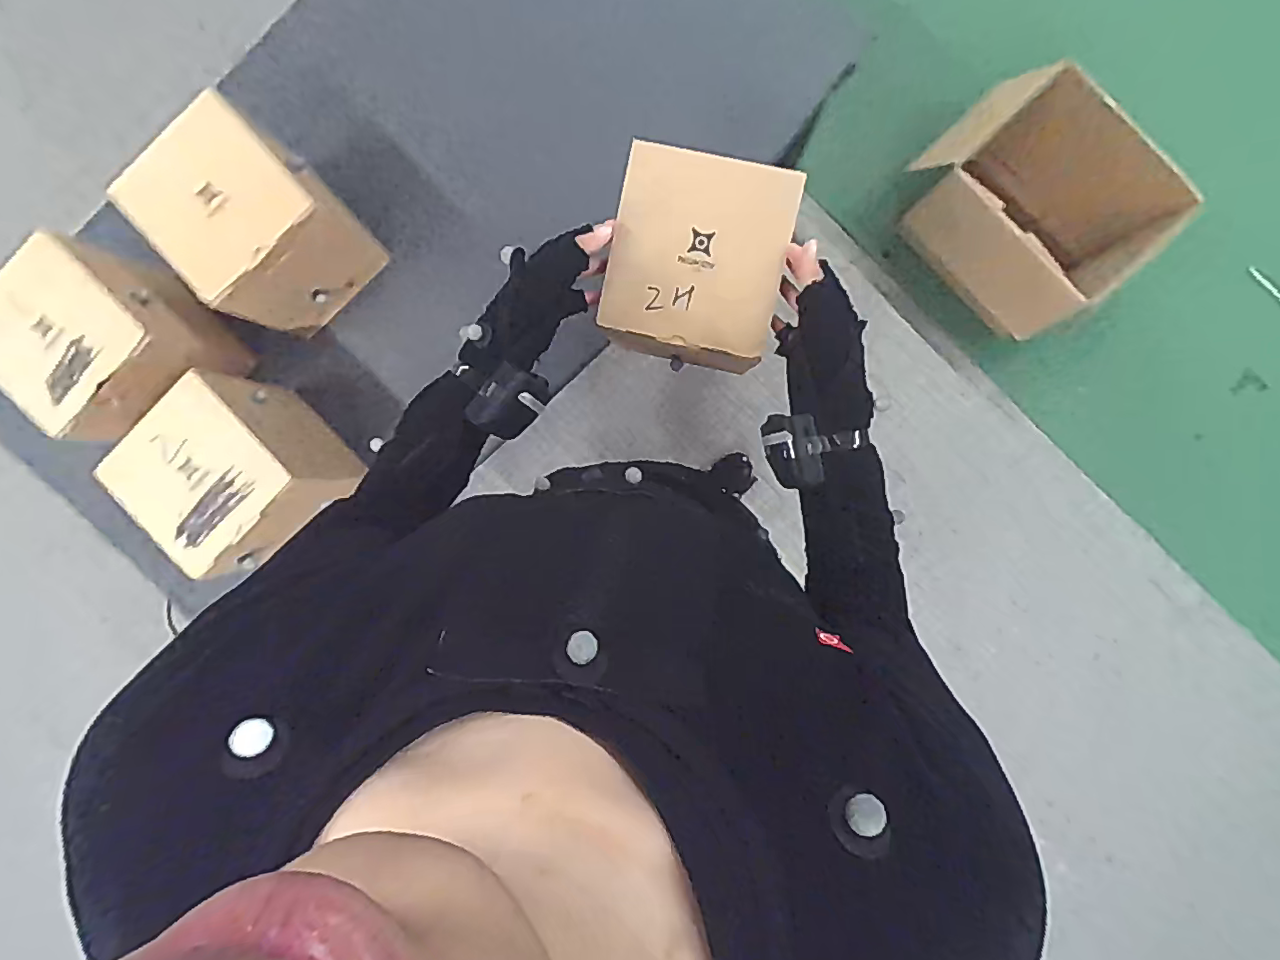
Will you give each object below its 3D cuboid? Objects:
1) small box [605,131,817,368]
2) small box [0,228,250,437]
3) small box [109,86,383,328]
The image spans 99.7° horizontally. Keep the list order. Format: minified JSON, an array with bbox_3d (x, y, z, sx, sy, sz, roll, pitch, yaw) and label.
[{"bbox_3d":[0.069,-0.230,0.584,0.168,0.176,0.179,14,98,3],"label":"small box"},{"bbox_3d":[-0.659,-0.171,0.687,0.179,0.176,0.168,44,93,0],"label":"small box"},{"bbox_3d":[-0.470,-0.319,0.675,0.168,0.176,0.179,-43,91,3],"label":"small box"}]
